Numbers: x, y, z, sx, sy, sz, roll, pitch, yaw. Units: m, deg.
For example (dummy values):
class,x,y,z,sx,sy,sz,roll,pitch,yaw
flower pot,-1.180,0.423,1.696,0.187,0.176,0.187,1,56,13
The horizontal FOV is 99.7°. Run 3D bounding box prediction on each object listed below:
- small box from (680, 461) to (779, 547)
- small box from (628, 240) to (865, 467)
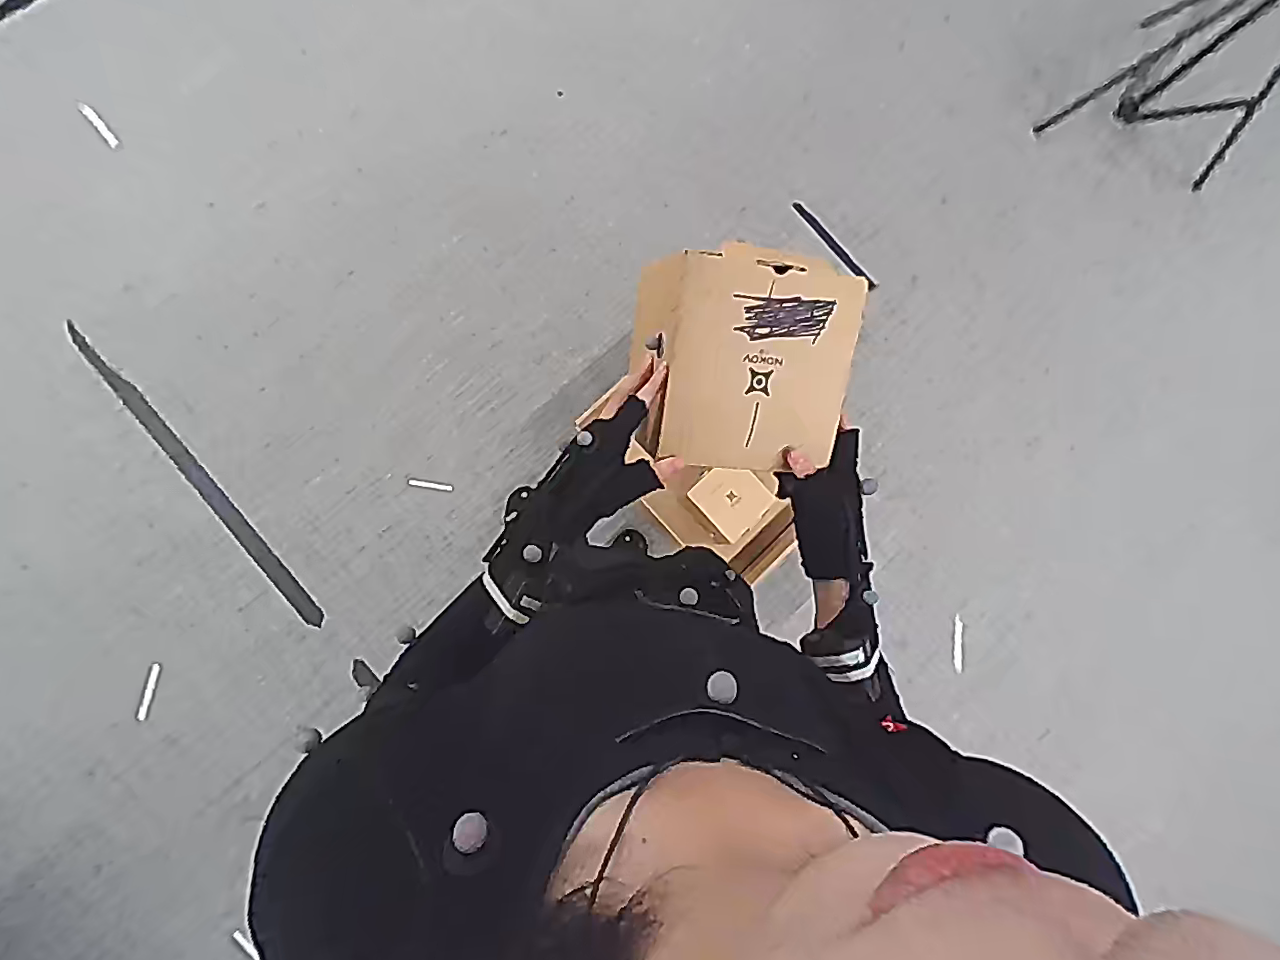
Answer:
class,x,y,z,sx,sy,sz,roll,pitch,yaw
small box,0.229,0.058,1.431,0.168,0.176,0.179,-43,88,-8
small box,0.086,-0.120,0.531,0.168,0.176,0.179,3,105,-12
